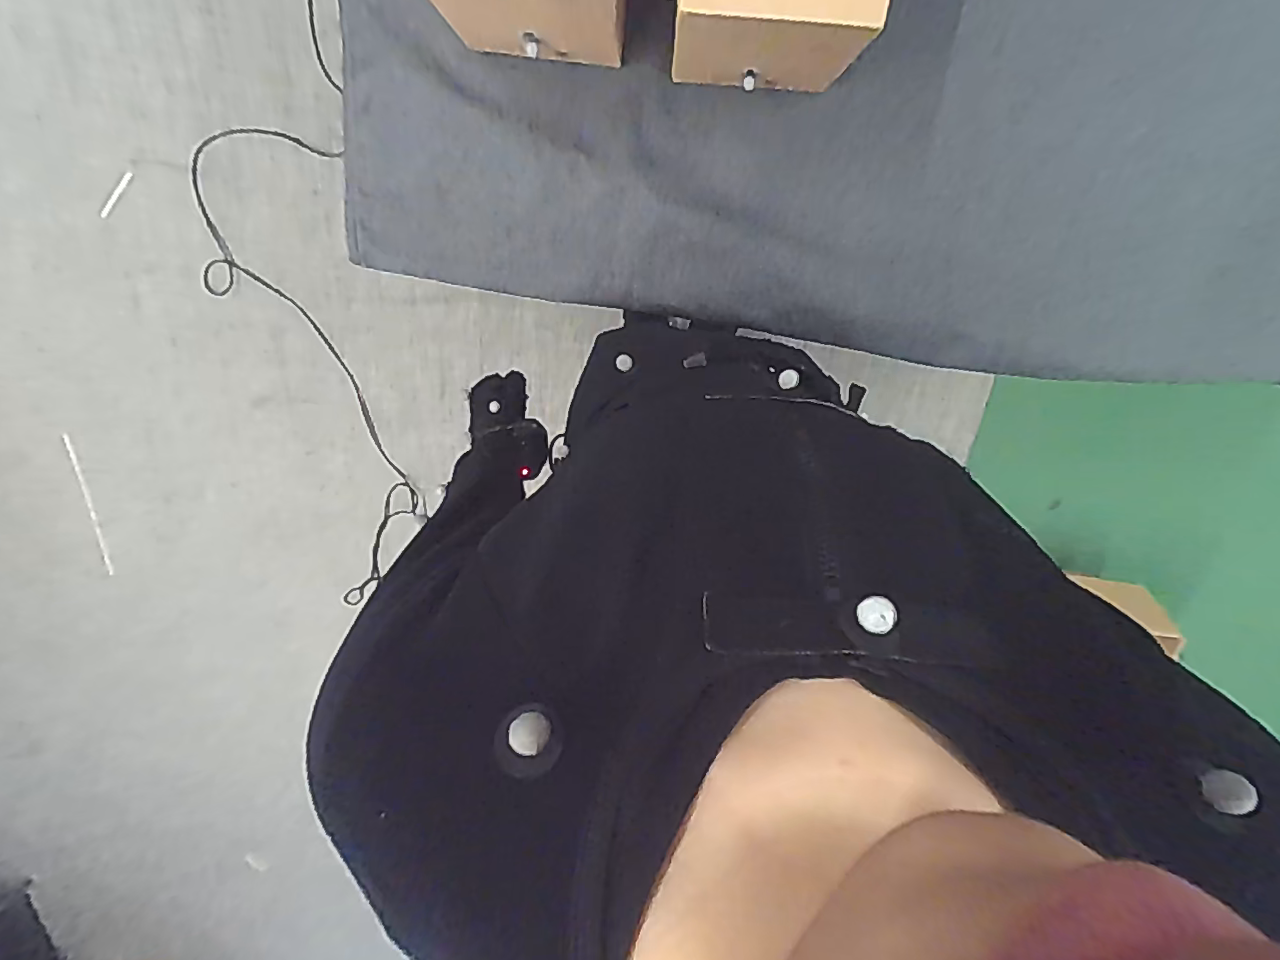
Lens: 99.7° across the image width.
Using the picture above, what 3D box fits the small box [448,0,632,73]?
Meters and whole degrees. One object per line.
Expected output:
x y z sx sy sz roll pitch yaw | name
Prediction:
-0.090 -0.501 0.476 0.168 0.176 0.179 6 110 0 | small box
